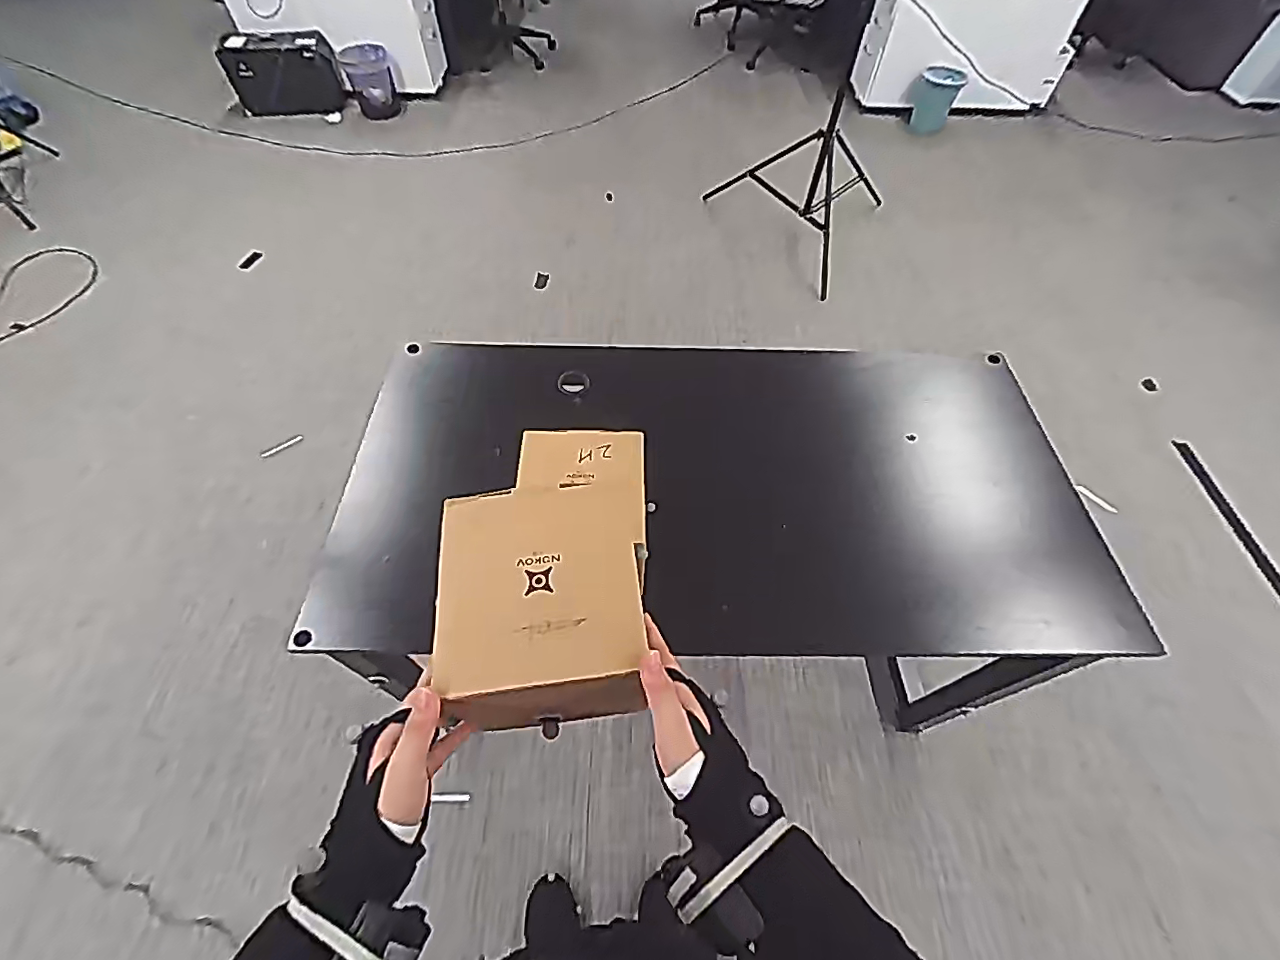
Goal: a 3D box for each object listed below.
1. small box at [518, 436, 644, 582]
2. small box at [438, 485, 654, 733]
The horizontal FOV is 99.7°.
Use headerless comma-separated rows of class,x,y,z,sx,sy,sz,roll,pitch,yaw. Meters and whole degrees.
small box,-0.078,0.056,0.770,0.168,0.176,0.179,0,55,-2
small box,-0.081,0.128,0.522,0.168,0.176,0.179,-7,57,-4
